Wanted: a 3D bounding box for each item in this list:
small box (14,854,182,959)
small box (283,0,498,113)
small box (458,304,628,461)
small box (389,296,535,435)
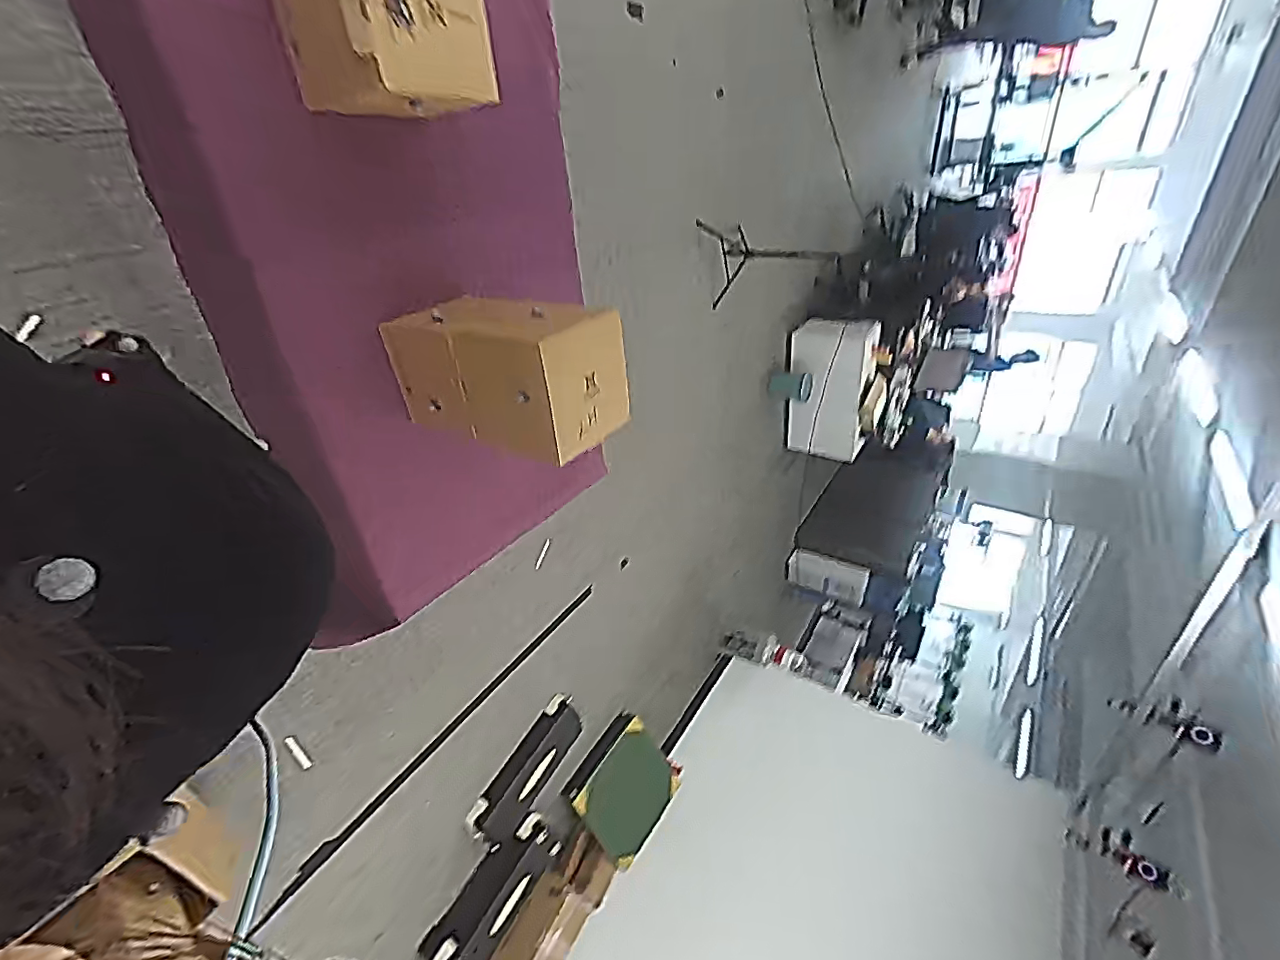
[{"bbox_3d":[-1.104,0.906,1.101,0.179,0.176,0.168,-54,140,-24],"label":"small box"},{"bbox_3d":[-0.306,-0.554,0.654,0.179,0.176,0.168,-38,134,-45],"label":"small box"},{"bbox_3d":[-0.138,-0.152,0.787,0.168,0.176,0.179,-39,135,-43],"label":"small box"},{"bbox_3d":[-0.273,-0.191,0.871,0.179,0.176,0.168,-41,136,-43],"label":"small box"}]
